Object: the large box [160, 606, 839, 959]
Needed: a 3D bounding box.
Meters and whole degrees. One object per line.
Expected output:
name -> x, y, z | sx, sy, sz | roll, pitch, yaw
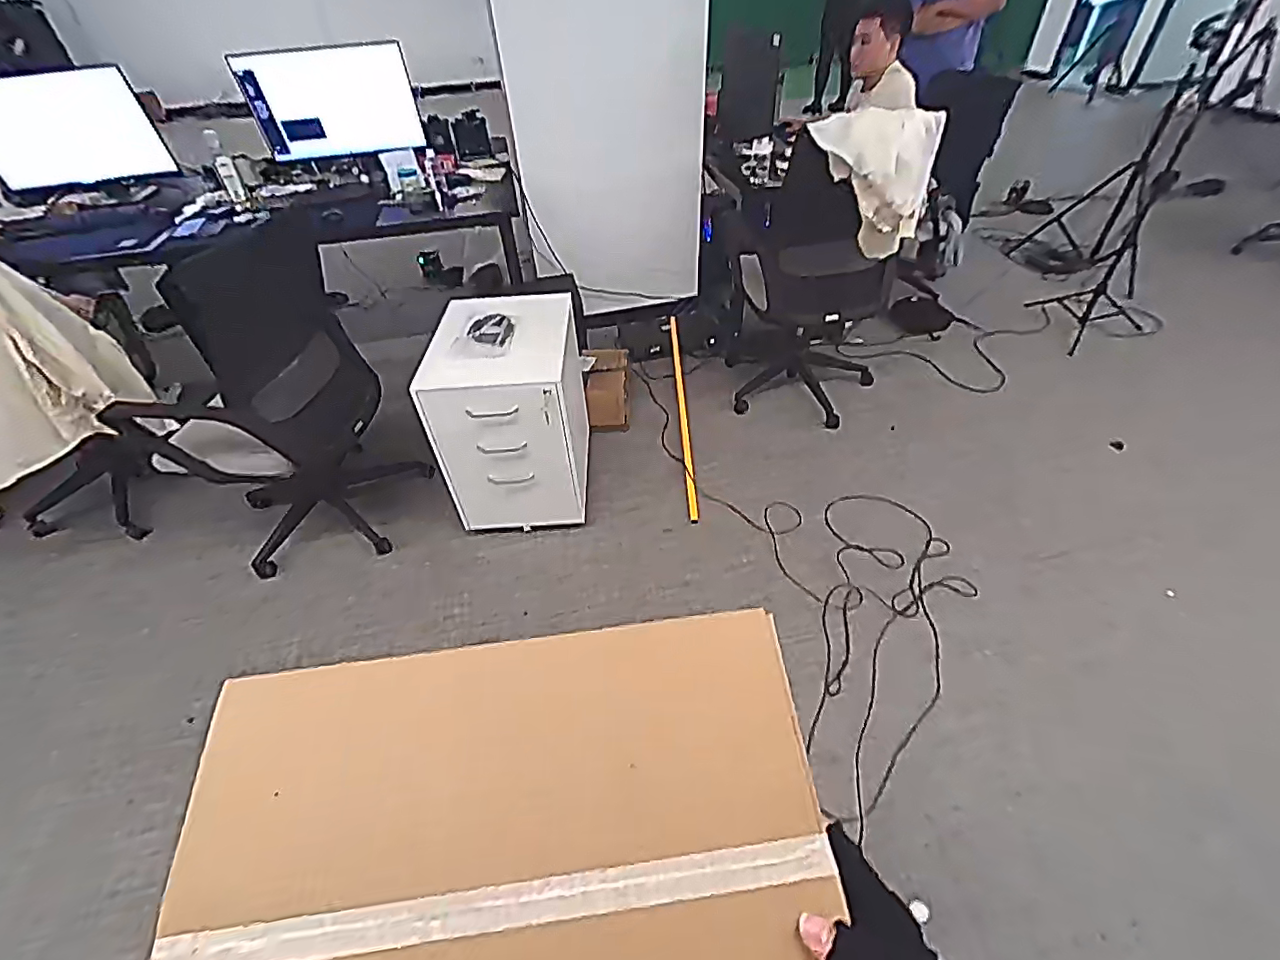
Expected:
large box -> -0.083, 0.326, 0.463 | 0.408, 0.320, 0.320 | -7, 59, -2
